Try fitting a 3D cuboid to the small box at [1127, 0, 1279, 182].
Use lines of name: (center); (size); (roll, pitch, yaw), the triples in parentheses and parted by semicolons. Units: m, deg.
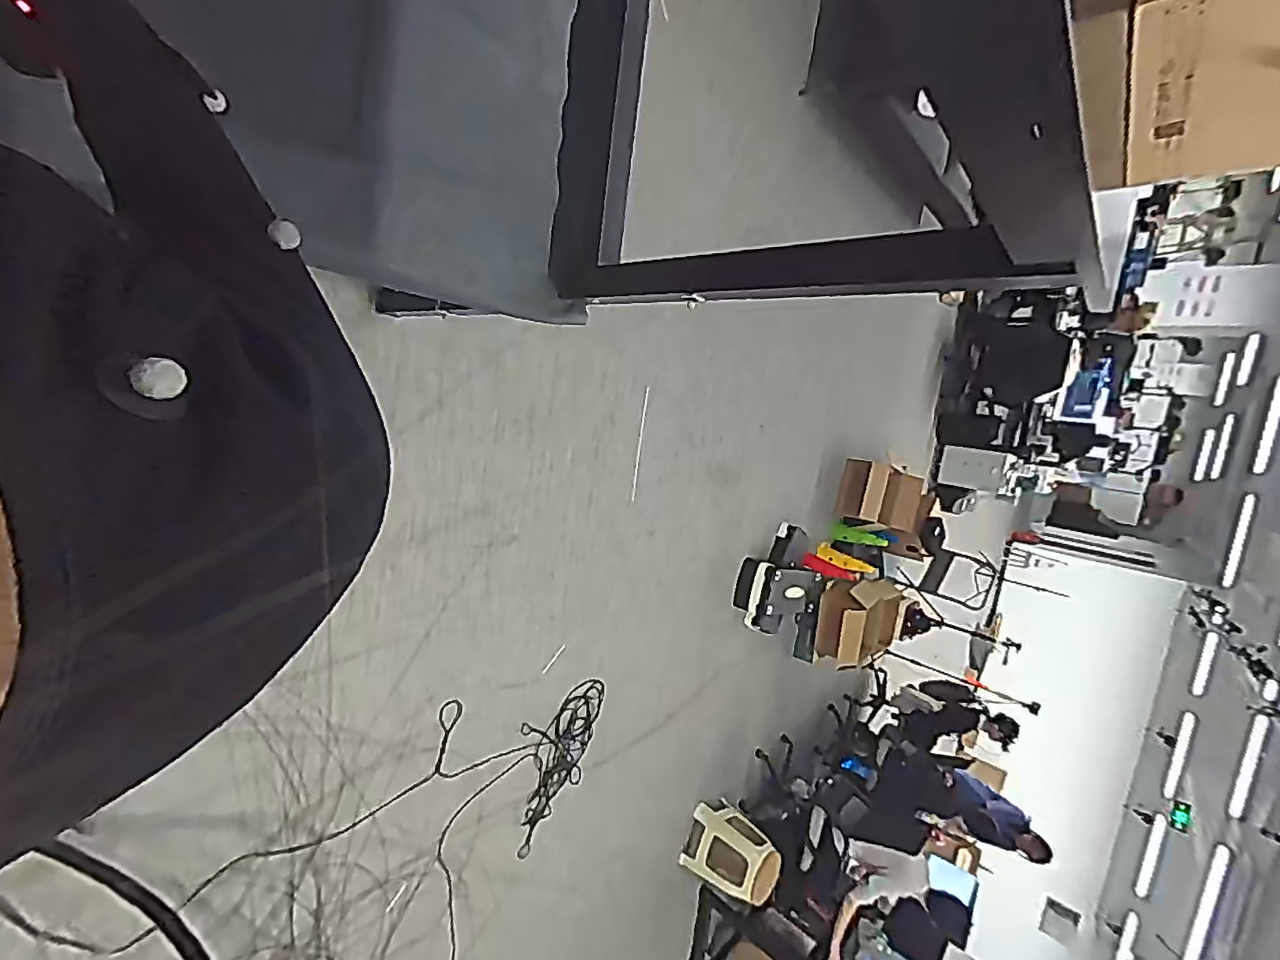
small box: (0.380, -0.287, 0.277); (0.168, 0.176, 0.179); (16, 89, -49)
